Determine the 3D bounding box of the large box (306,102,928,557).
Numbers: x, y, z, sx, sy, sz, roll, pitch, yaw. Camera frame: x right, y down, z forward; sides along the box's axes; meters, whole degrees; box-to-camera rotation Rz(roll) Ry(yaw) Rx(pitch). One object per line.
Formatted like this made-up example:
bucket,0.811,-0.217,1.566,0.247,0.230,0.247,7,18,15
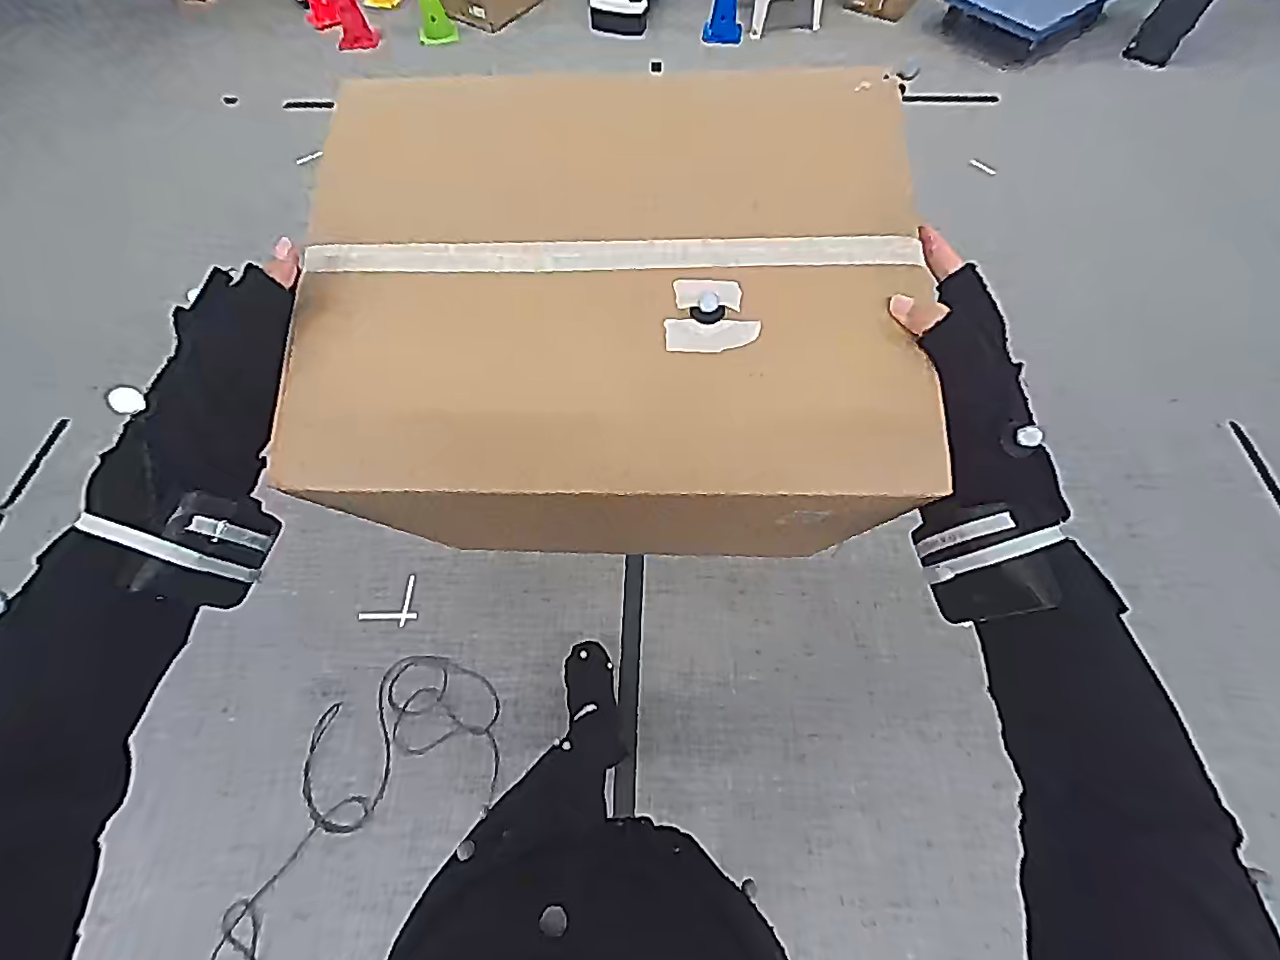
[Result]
large box,-0.014,-0.100,0.522,0.408,0.320,0.320,0,75,2
